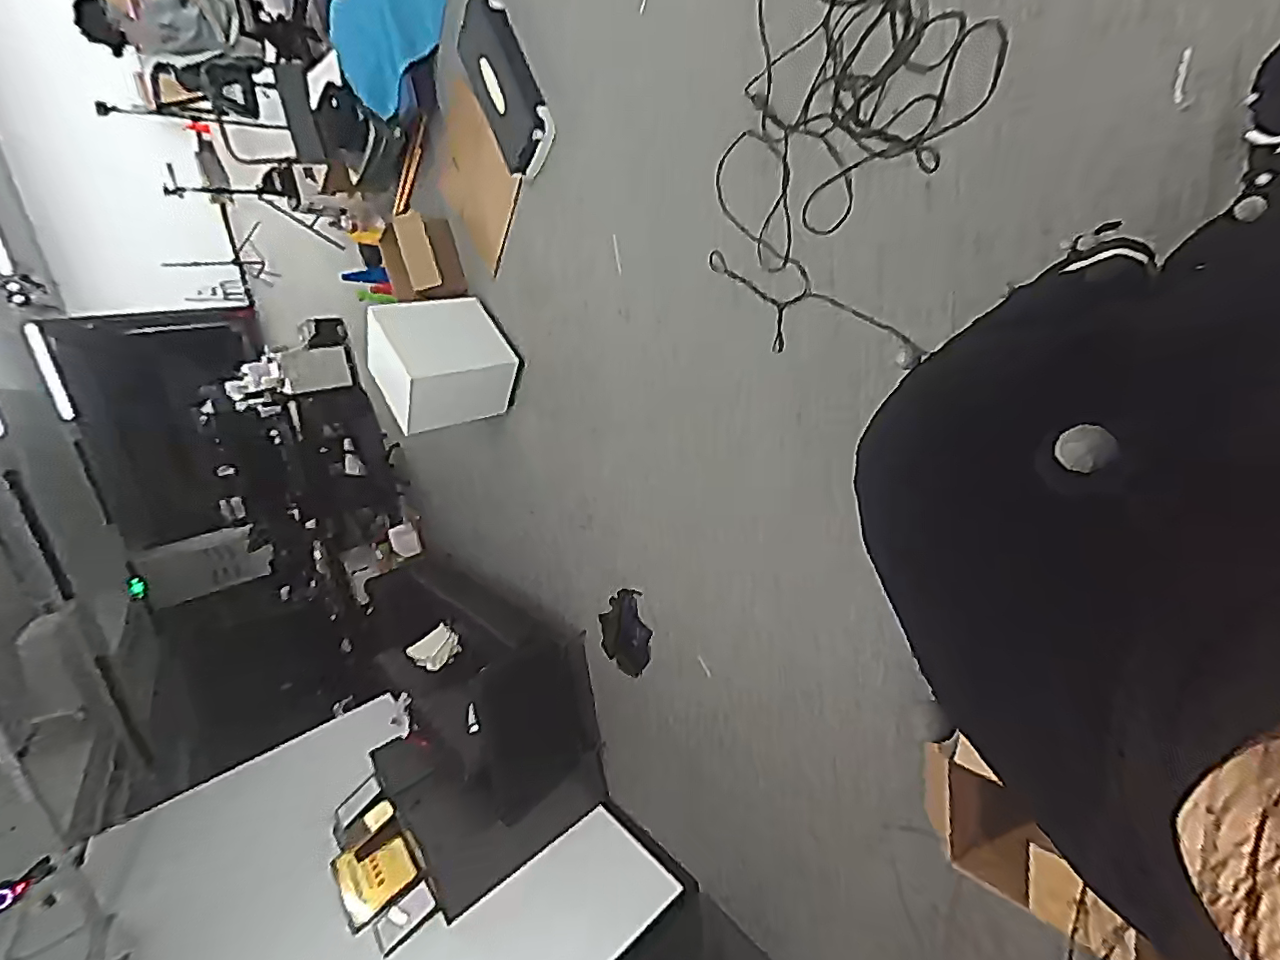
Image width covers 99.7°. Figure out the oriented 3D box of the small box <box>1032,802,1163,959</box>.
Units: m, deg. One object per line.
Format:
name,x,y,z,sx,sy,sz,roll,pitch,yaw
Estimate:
small box,0.905,0.795,1.070,0.168,0.176,0.179,7,109,52
